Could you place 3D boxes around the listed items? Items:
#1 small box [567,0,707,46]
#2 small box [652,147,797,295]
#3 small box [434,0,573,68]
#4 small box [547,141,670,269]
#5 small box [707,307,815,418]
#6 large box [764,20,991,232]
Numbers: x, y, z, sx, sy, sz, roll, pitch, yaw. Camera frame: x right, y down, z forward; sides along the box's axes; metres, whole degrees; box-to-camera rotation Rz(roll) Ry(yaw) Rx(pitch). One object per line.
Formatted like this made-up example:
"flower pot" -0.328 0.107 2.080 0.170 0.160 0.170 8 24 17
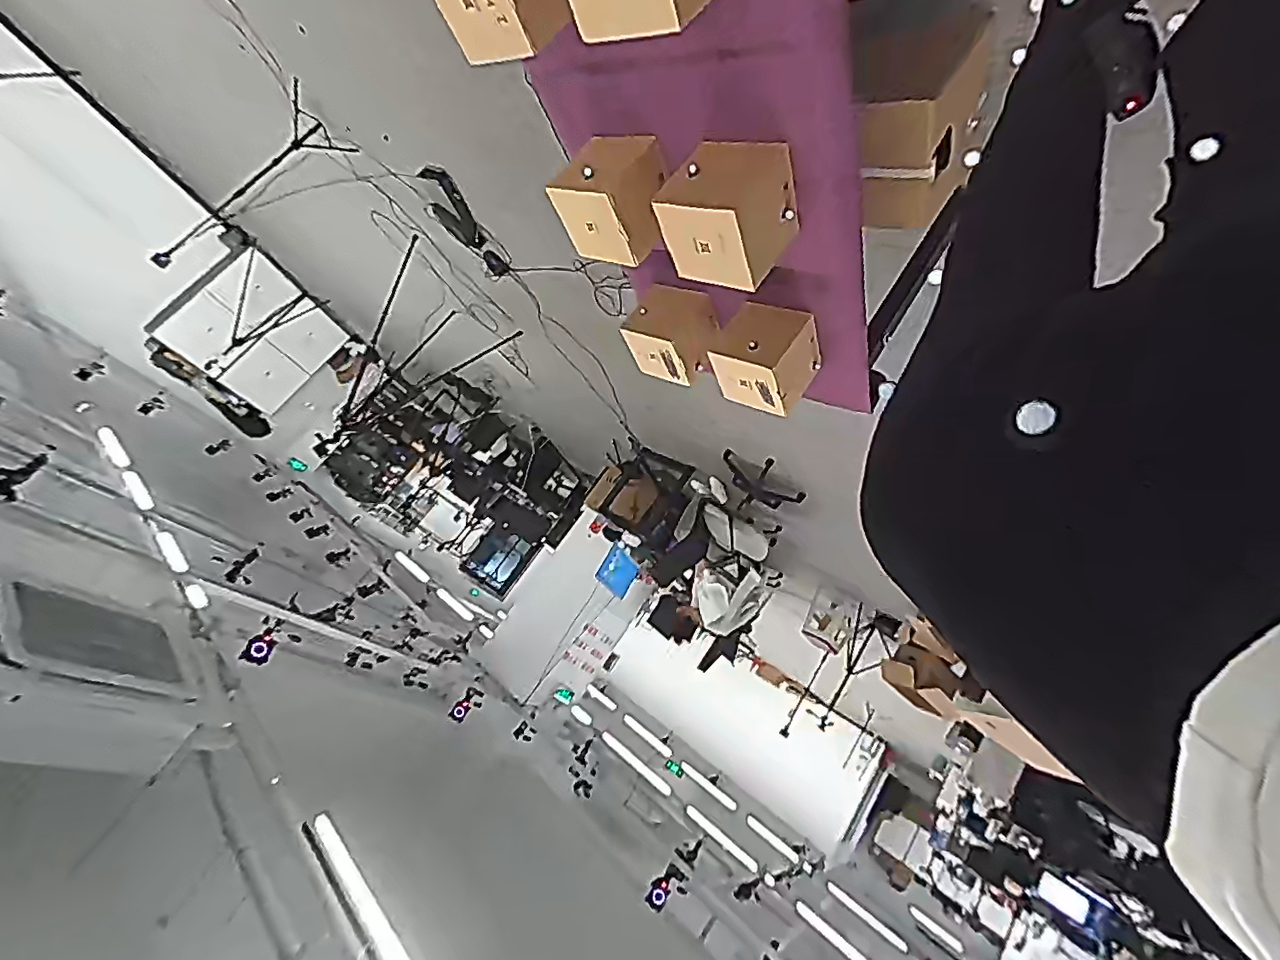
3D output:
"small box" 0.005 -0.672 0.658 0.179 0.176 0.168 29 165 35
"small box" 0.156 -0.465 0.966 0.179 0.176 0.168 27 163 34
"small box" -0.207 -0.772 0.825 0.179 0.176 0.168 25 164 34
"small box" -0.050 -0.570 1.115 0.179 0.176 0.168 25 161 34
"small box" 0.288 -0.275 1.246 0.179 0.176 0.168 27 162 37
"large box" 0.590 -0.869 1.356 0.408 0.320 0.320 27 162 36
